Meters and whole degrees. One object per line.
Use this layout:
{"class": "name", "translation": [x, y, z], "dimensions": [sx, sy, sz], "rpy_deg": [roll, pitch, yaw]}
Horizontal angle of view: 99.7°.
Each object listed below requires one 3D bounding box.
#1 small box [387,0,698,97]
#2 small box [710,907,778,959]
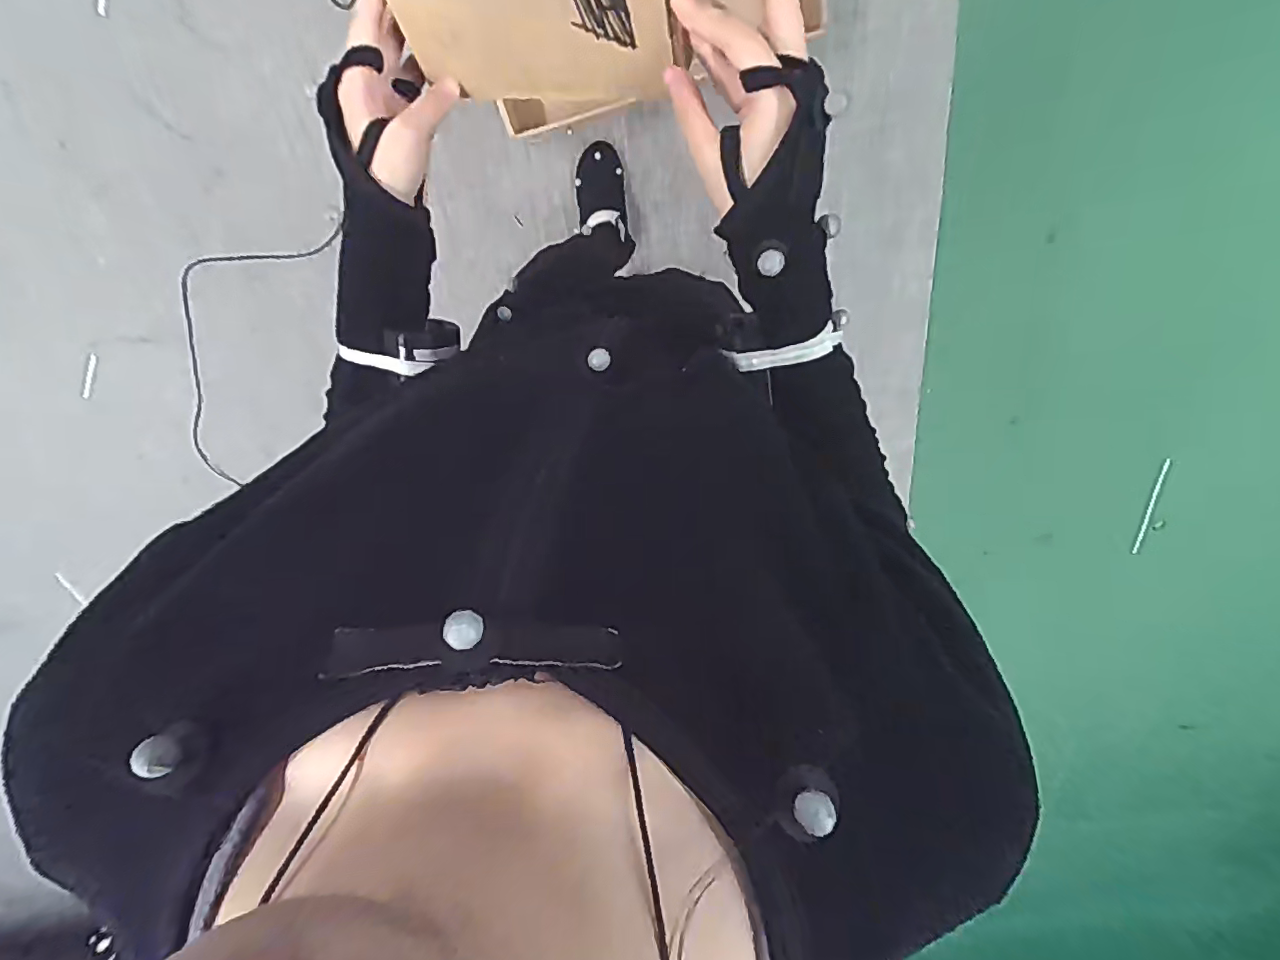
{"class": "small box", "translation": [-0.054, -0.354, 0.302], "dimensions": [0.179, 0.176, 0.168], "rpy_deg": [12, 161, 15]}
{"class": "small box", "translation": [0.298, 1.347, 1.528], "dimensions": [0.179, 0.176, 0.168], "rpy_deg": [-11, 121, 6]}
